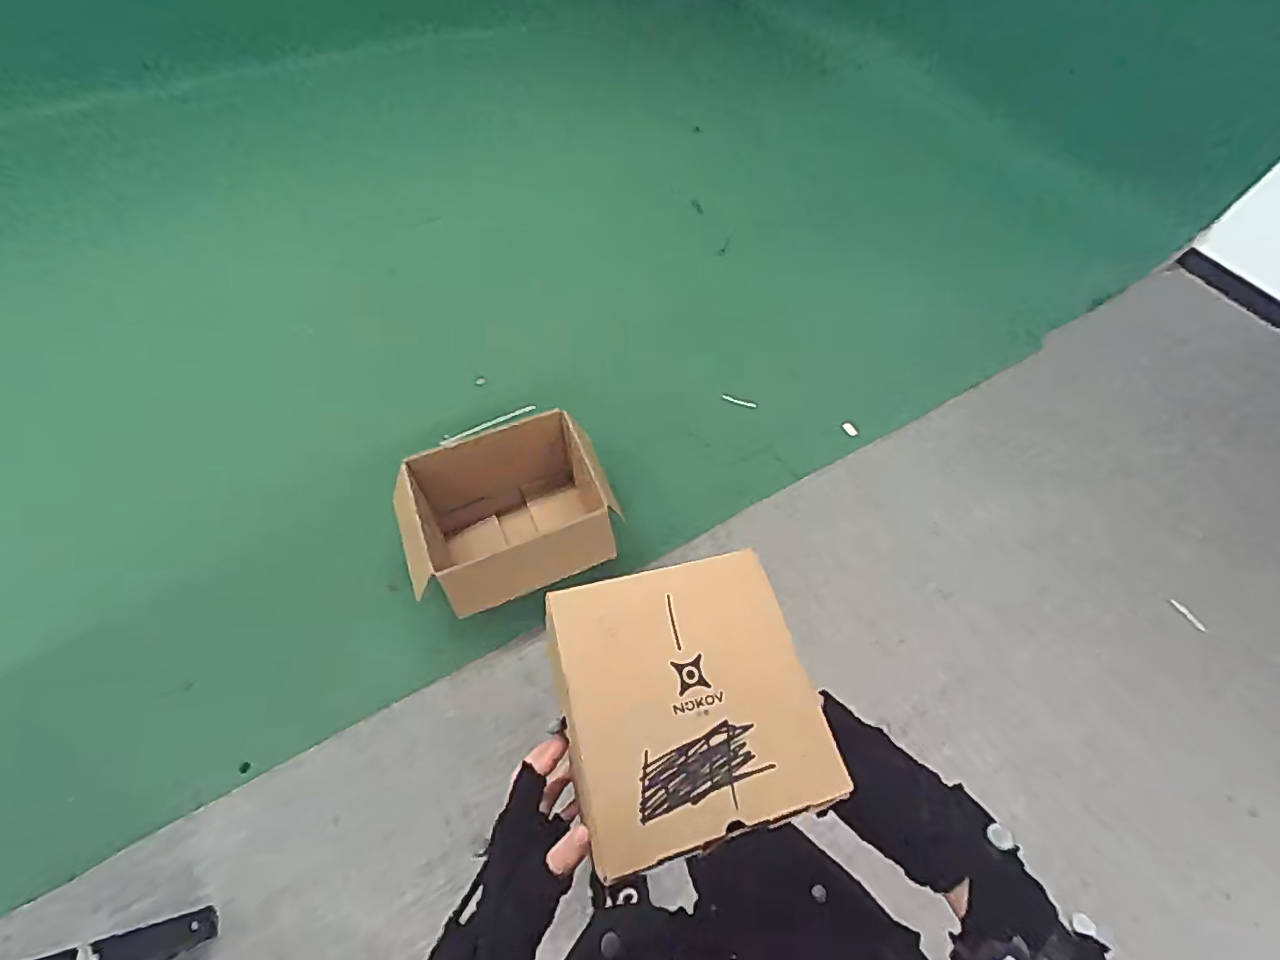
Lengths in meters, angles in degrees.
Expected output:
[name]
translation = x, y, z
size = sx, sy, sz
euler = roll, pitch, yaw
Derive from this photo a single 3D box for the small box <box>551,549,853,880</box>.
[small box]
translation = 0.027, 0.179, 0.428
size = 0.168, 0.176, 0.179
euler = -10, 60, -15
